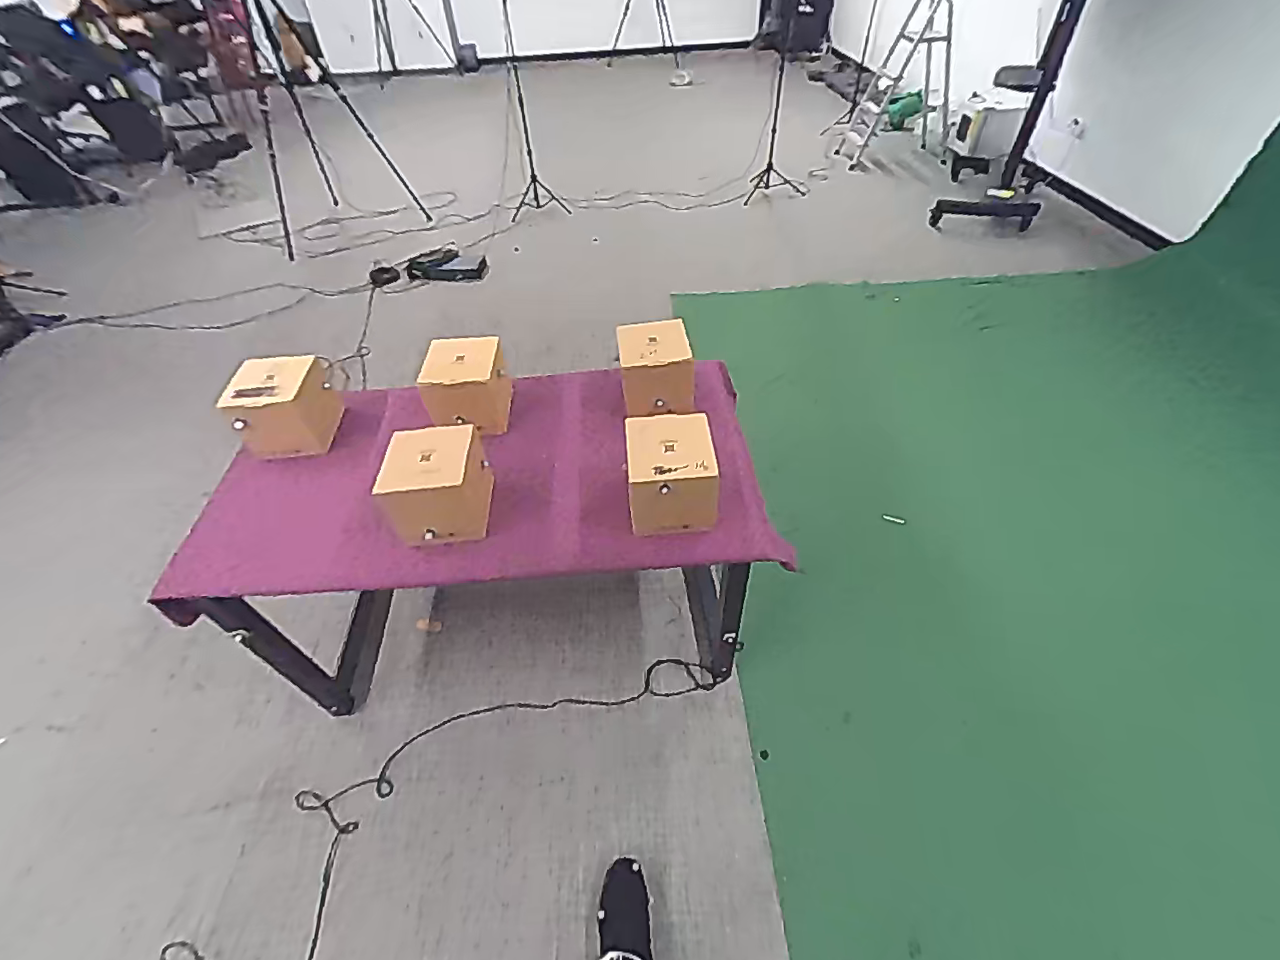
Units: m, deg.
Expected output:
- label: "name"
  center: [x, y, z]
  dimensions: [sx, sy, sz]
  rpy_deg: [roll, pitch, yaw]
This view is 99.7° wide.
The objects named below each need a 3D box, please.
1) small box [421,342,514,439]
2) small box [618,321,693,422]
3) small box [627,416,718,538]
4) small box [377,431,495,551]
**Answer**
- label: "small box"
  center: [-0.415, -0.217, 1.335]
  dimensions: [0.168, 0.176, 0.179]
  rpy_deg: [-4, 49, 1]
- label: "small box"
  center: [0.038, -0.266, 1.335]
  dimensions: [0.168, 0.176, 0.179]
  rpy_deg: [-8, 48, 1]
- label: "small box"
  center: [0.061, -0.005, 1.095]
  dimensions: [0.168, 0.176, 0.179]
  rpy_deg: [-5, 48, 1]
- label: "small box"
  center: [-0.406, 0.022, 1.113]
  dimensions: [0.168, 0.176, 0.179]
  rpy_deg: [-6, 46, 0]
